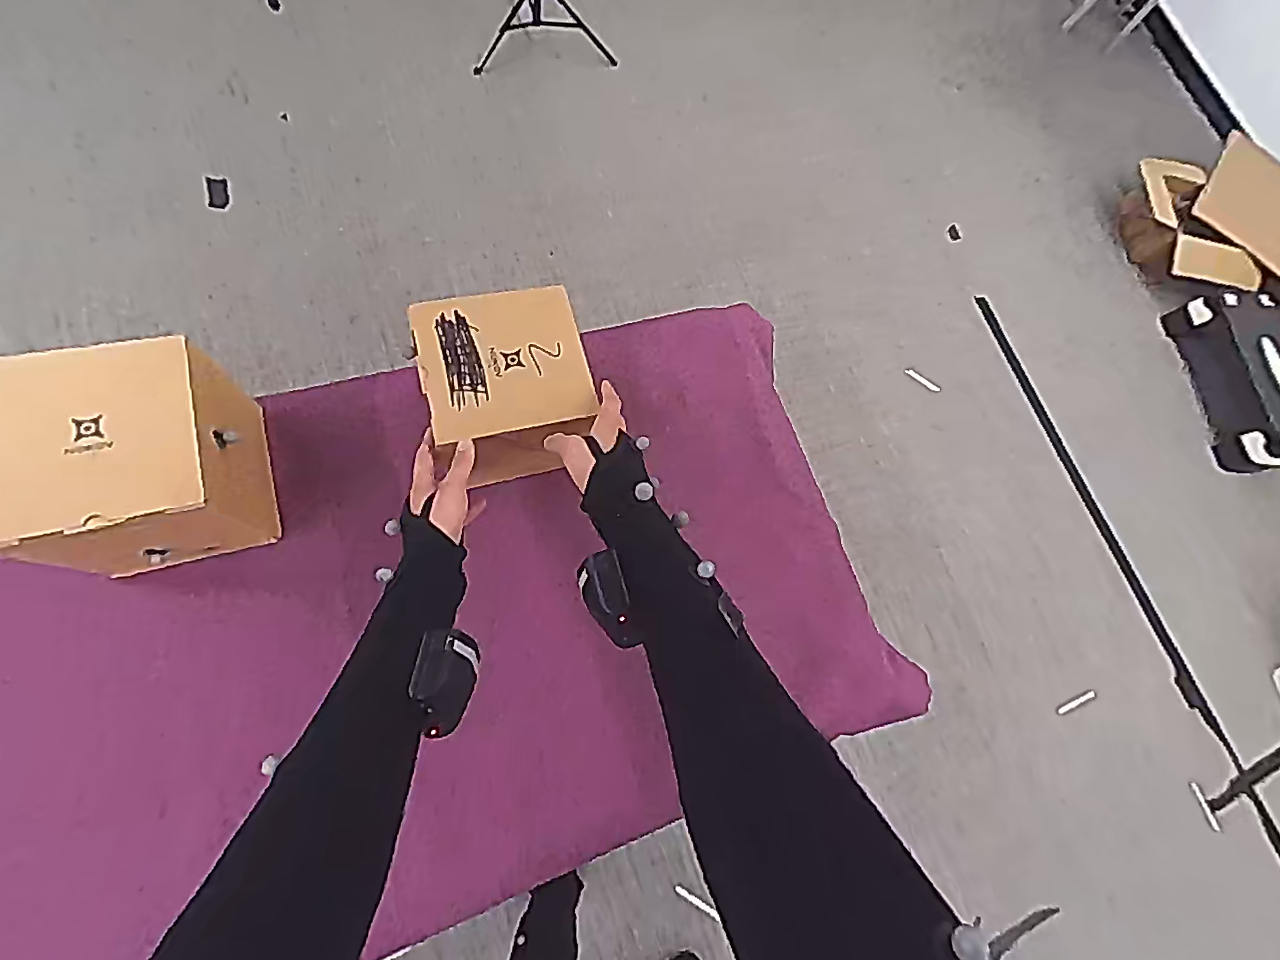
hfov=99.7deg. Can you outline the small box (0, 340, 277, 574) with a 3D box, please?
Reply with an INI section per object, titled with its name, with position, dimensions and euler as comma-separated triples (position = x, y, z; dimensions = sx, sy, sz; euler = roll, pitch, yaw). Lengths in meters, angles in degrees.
[small box]
position = -0.504, -0.015, 0.554
dimensions = 0.168, 0.176, 0.179
euler = -14, 77, -17
